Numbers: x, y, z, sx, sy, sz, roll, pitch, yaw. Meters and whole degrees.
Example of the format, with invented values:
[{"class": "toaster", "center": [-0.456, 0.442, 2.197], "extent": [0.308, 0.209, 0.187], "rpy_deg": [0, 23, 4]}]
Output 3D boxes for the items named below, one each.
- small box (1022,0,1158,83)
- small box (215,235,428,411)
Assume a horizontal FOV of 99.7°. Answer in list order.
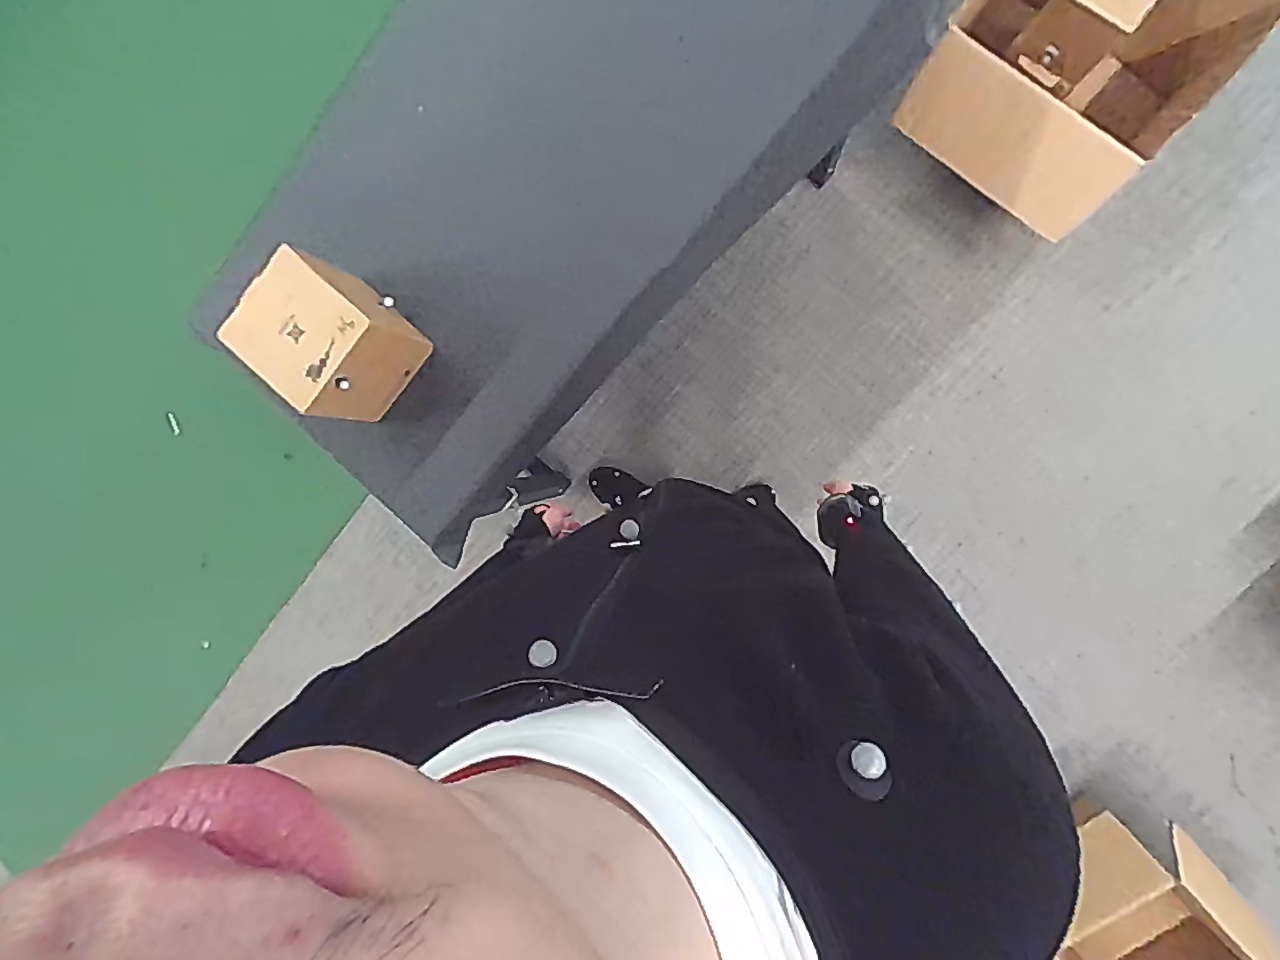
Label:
[{"class": "small box", "center": [0.950, -0.990, 1.120], "extent": [0.168, 0.176, 0.179], "rpy_deg": [35, 98, 3]}, {"class": "small box", "center": [-0.465, -0.219, 0.813], "extent": [0.179, 0.176, 0.168], "rpy_deg": [42, 97, 5]}]
